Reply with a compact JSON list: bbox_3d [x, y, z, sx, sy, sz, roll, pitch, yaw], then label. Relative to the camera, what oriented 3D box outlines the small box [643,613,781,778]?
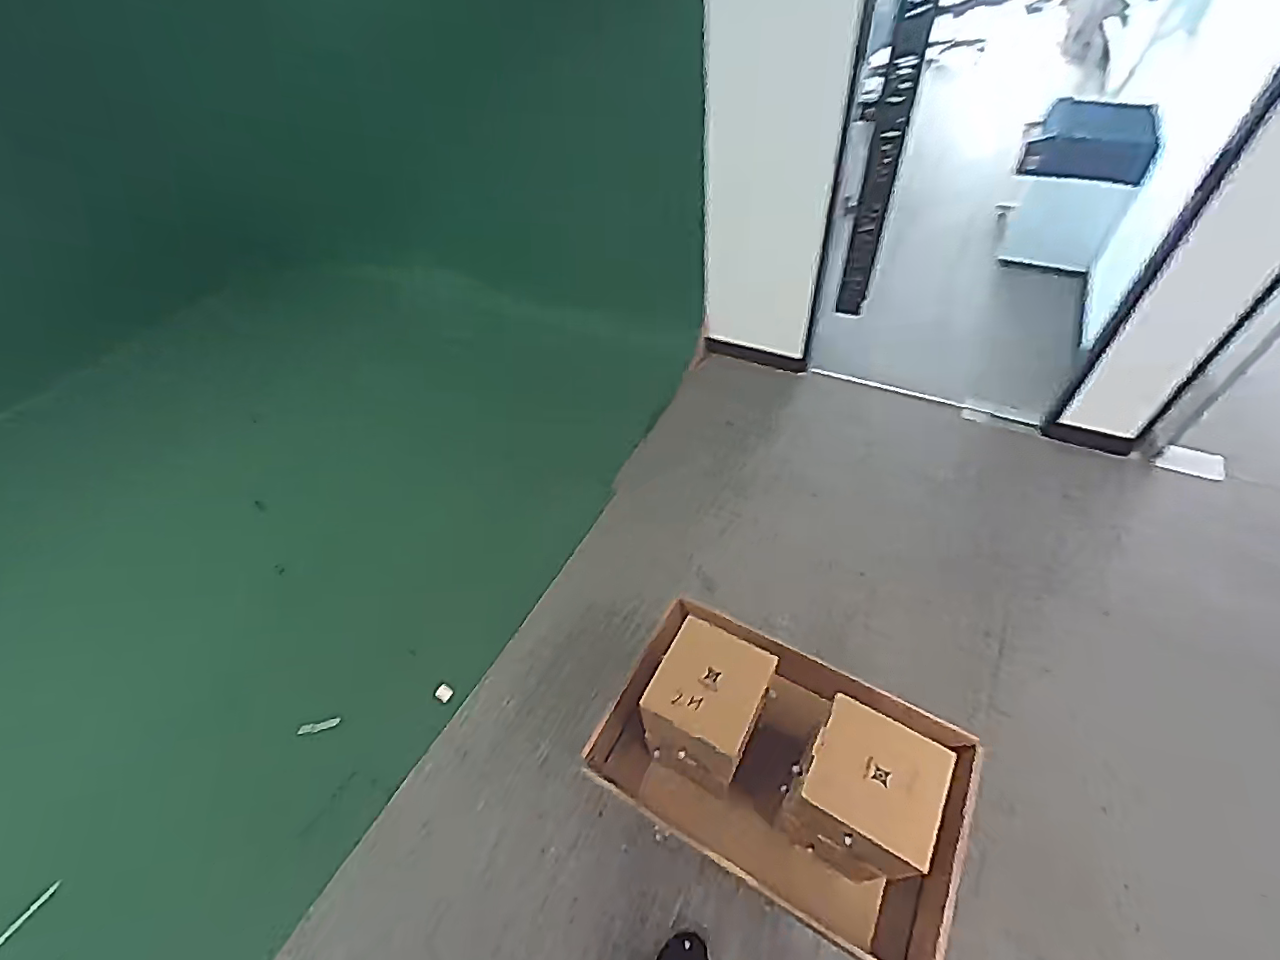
[{"bbox_3d":[0.120,0.367,0.919,0.168,0.176,0.179,23,56,22],"label":"small box"}]

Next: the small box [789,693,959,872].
[{"bbox_3d":[0.343,0.463,0.822,0.179,0.176,0.168,25,58,22],"label":"small box"}]
